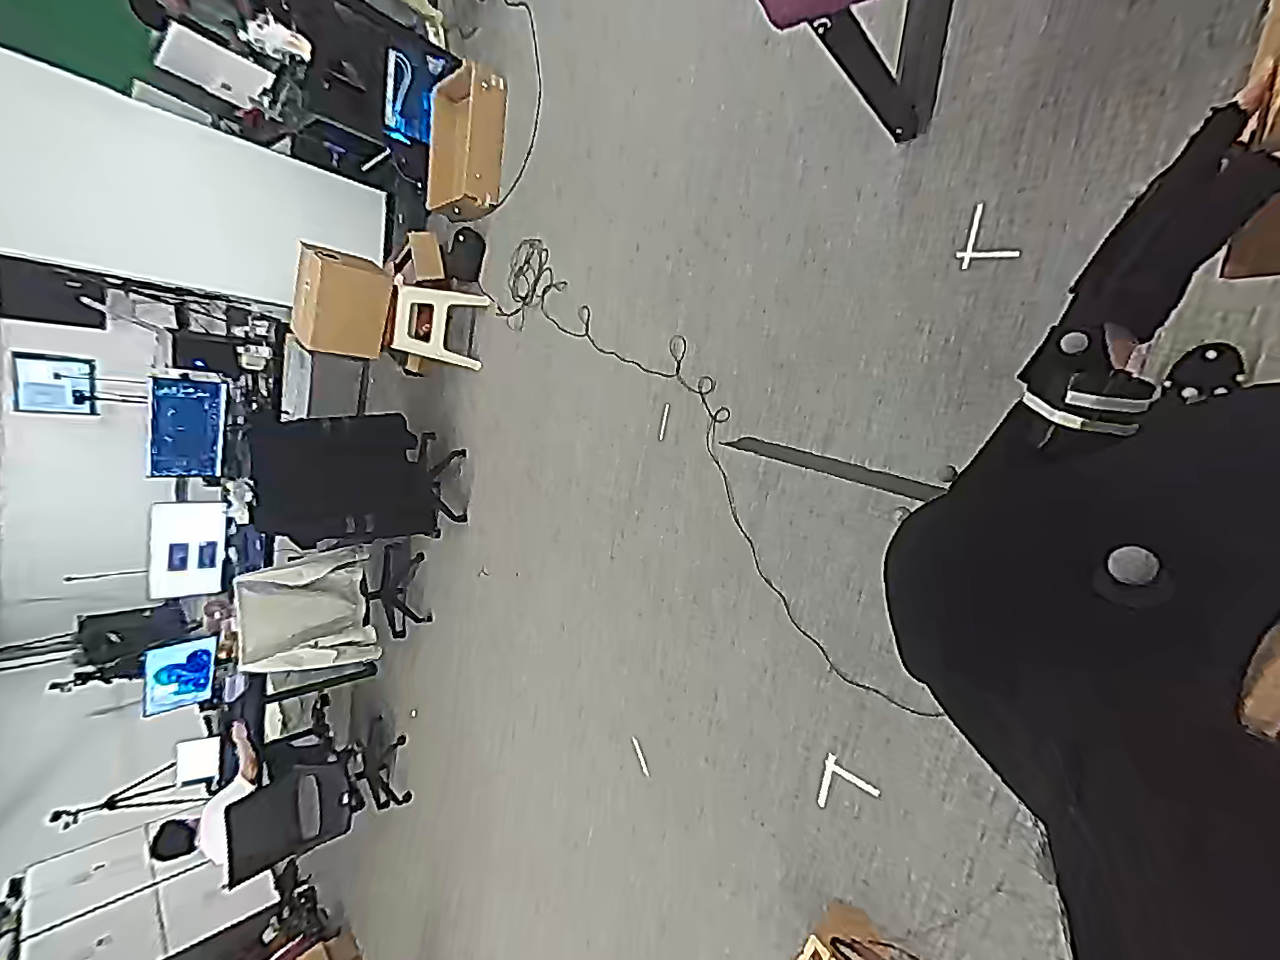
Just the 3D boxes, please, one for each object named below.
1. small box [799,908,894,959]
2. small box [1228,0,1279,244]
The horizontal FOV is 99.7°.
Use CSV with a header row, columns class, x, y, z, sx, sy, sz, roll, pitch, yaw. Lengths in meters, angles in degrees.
class,x,y,z,sx,sy,sz,roll,pitch,yaw
small box,0.573,1.354,1.514,0.179,0.176,0.168,33,113,37
small box,0.496,-0.267,0.326,0.168,0.176,0.179,9,74,40
